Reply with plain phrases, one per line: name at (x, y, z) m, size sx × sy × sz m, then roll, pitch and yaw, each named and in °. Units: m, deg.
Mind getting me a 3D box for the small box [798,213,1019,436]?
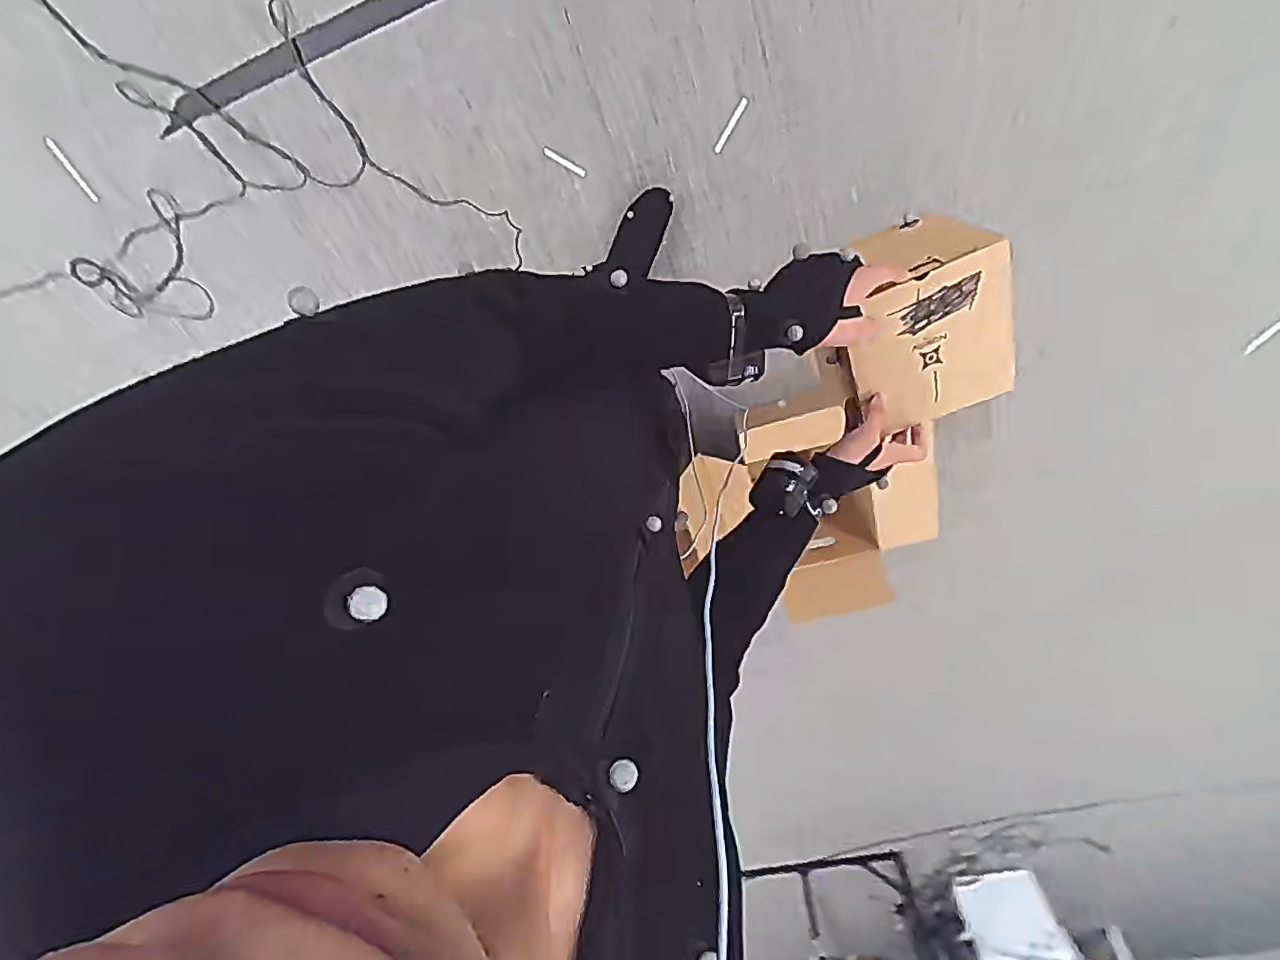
small box at (0.300, -0.187, 0.626) m, size 0.168 × 0.176 × 0.179 m, roll -22°, pitch 124°, yaw 12°
